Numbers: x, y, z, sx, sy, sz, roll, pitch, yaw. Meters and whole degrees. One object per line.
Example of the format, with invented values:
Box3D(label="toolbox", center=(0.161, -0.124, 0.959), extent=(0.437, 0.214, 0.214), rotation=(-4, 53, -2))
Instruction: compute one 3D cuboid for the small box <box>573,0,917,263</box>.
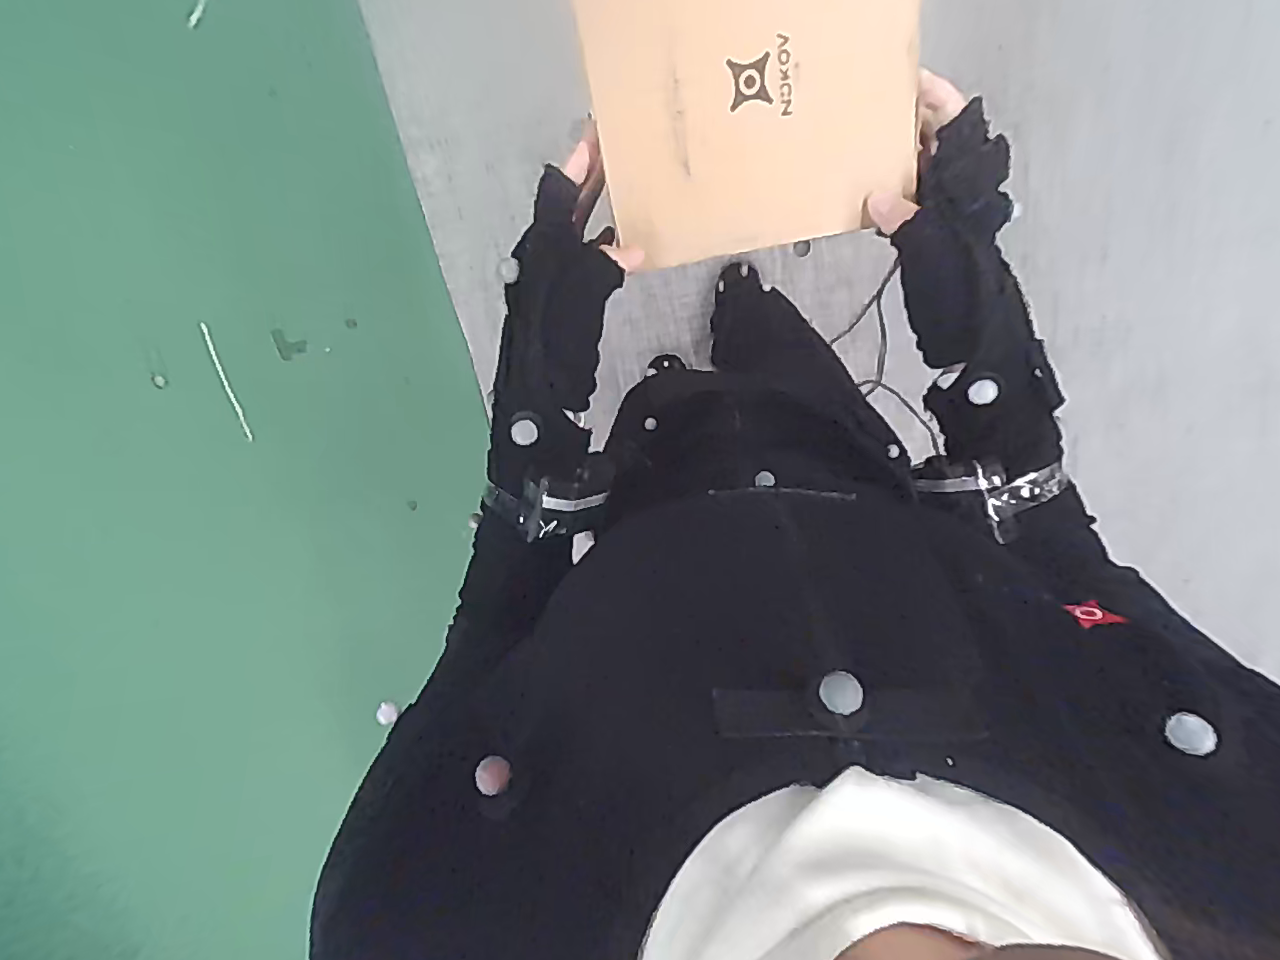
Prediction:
Box3D(label="small box", center=(0.057, -0.251, 0.358), extent=(0.179, 0.176, 0.168), rotation=(-10, 115, 4))
